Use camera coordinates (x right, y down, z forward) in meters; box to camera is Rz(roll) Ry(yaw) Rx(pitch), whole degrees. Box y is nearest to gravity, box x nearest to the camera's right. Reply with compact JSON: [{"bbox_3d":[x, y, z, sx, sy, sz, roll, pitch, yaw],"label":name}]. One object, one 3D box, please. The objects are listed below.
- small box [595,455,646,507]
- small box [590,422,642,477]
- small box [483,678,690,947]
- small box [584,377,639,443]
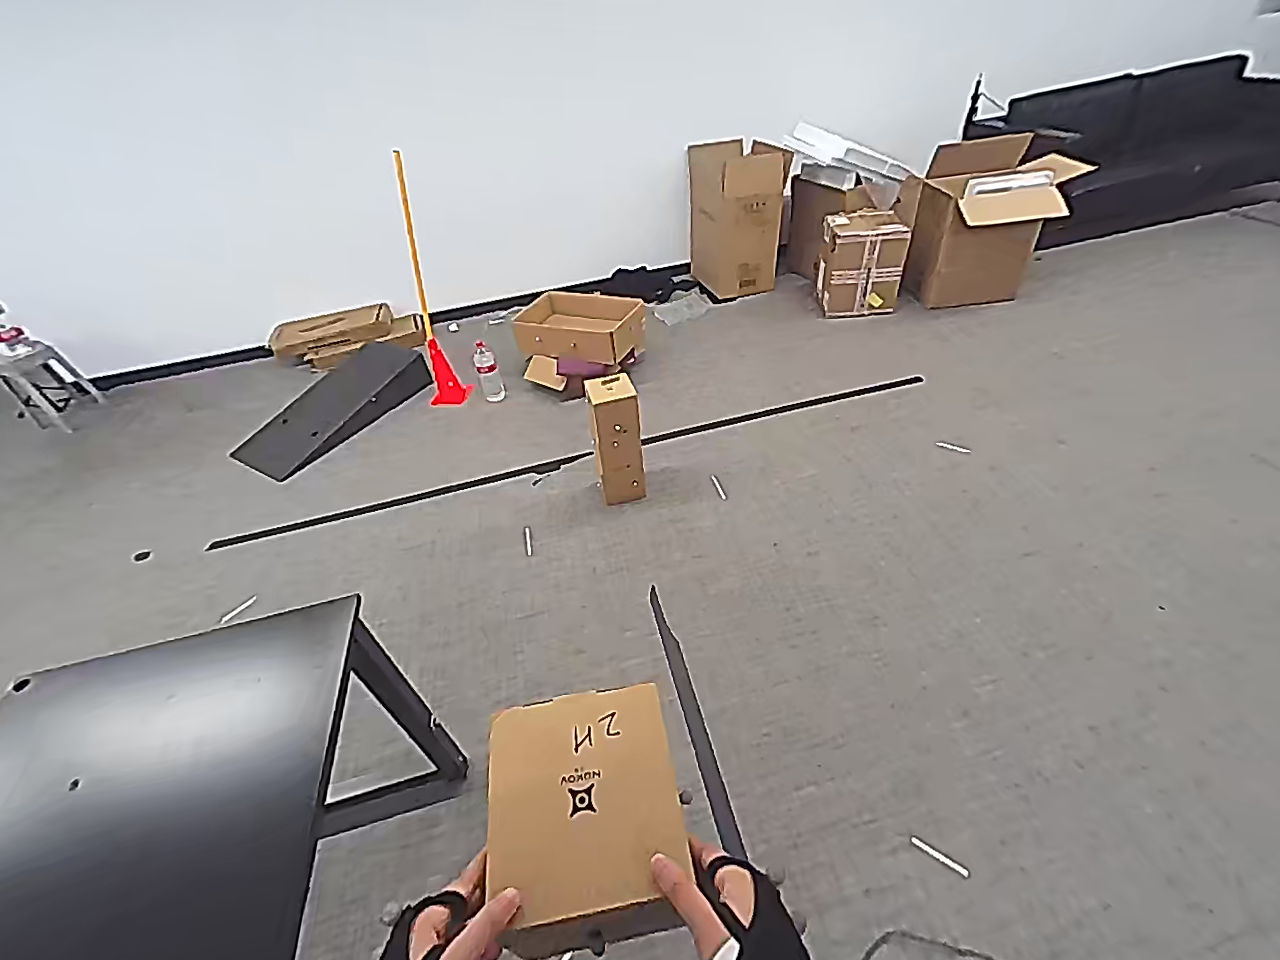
[{"bbox_3d":[-0.079,-0.013,2.251,0.179,0.176,0.168,-15,40,-6],"label":"small box"},{"bbox_3d":[-0.095,-0.137,2.144,0.168,0.176,0.179,-15,39,-8],"label":"small box"},{"bbox_3d":[-0.047,0.326,0.529,0.168,0.176,0.179,-9,43,-5],"label":"small box"},{"bbox_3d":[-0.107,-0.264,2.039,0.168,0.176,0.179,-15,41,-8],"label":"small box"}]
